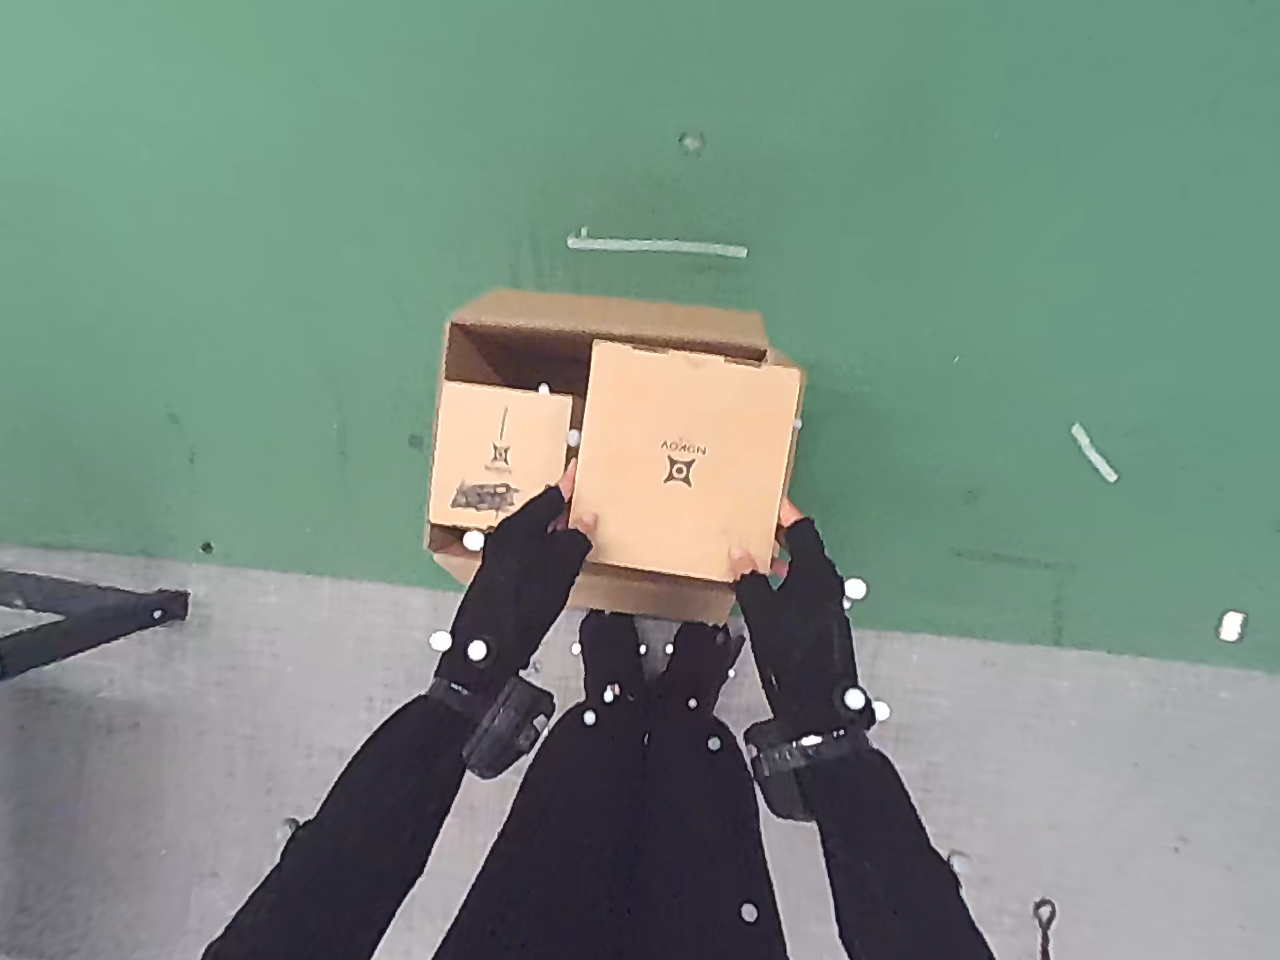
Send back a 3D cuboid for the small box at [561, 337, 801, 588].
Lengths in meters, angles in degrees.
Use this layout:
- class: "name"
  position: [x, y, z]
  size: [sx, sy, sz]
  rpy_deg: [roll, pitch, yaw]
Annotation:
- class: "small box"
  position: [0.034, -0.017, 0.495]
  size: [0.168, 0.176, 0.179]
  rpy_deg: [8, 93, 2]
